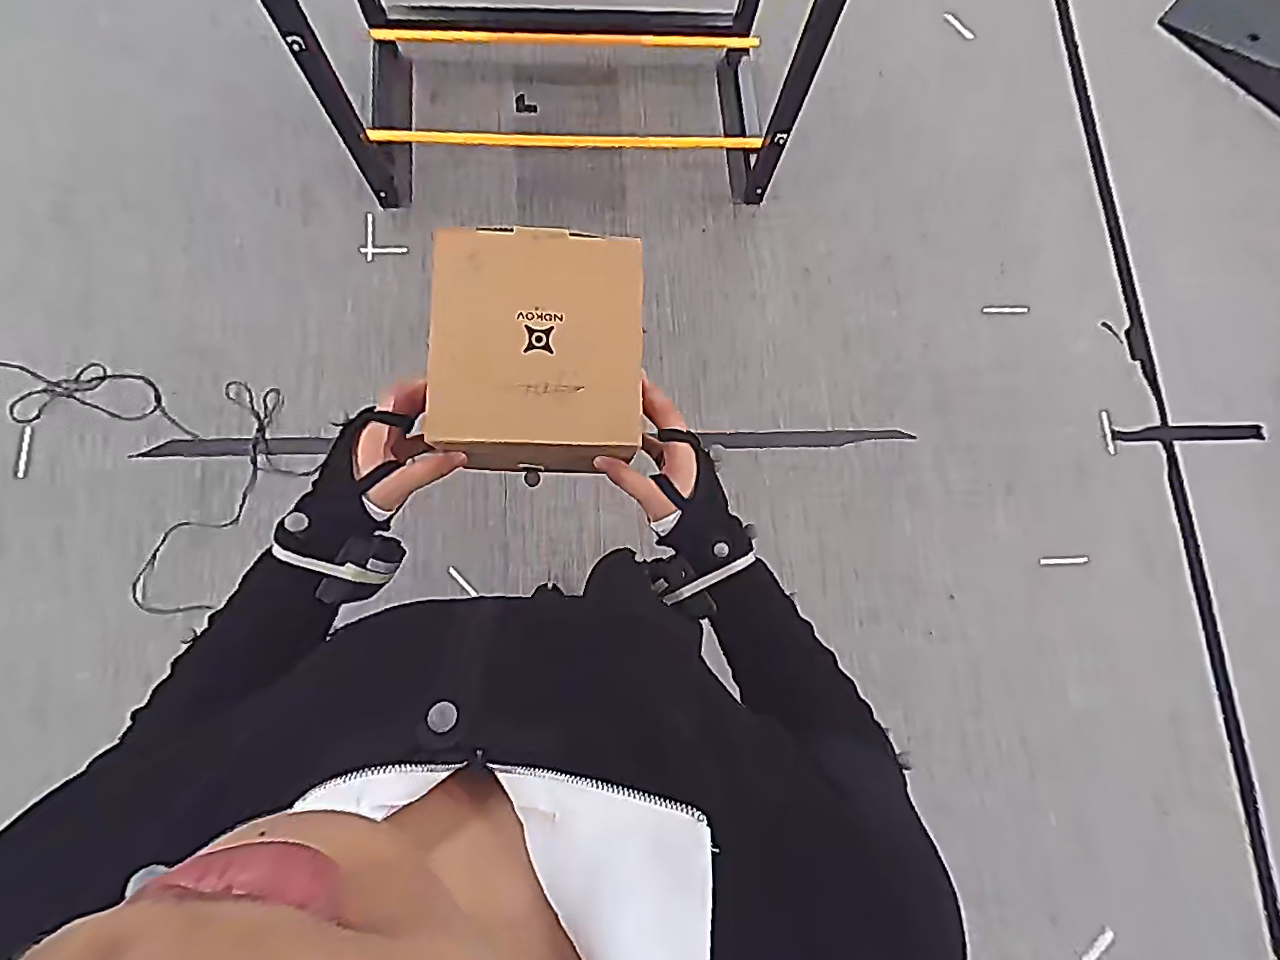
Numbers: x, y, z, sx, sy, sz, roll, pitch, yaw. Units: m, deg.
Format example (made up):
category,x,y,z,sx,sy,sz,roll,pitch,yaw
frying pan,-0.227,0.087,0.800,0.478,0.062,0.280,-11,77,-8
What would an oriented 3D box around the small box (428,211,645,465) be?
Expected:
category,x,y,z,sx,sy,sz,roll,pitch,yaw
small box,-0.088,-0.116,0.507,0.168,0.176,0.179,1,83,-7
